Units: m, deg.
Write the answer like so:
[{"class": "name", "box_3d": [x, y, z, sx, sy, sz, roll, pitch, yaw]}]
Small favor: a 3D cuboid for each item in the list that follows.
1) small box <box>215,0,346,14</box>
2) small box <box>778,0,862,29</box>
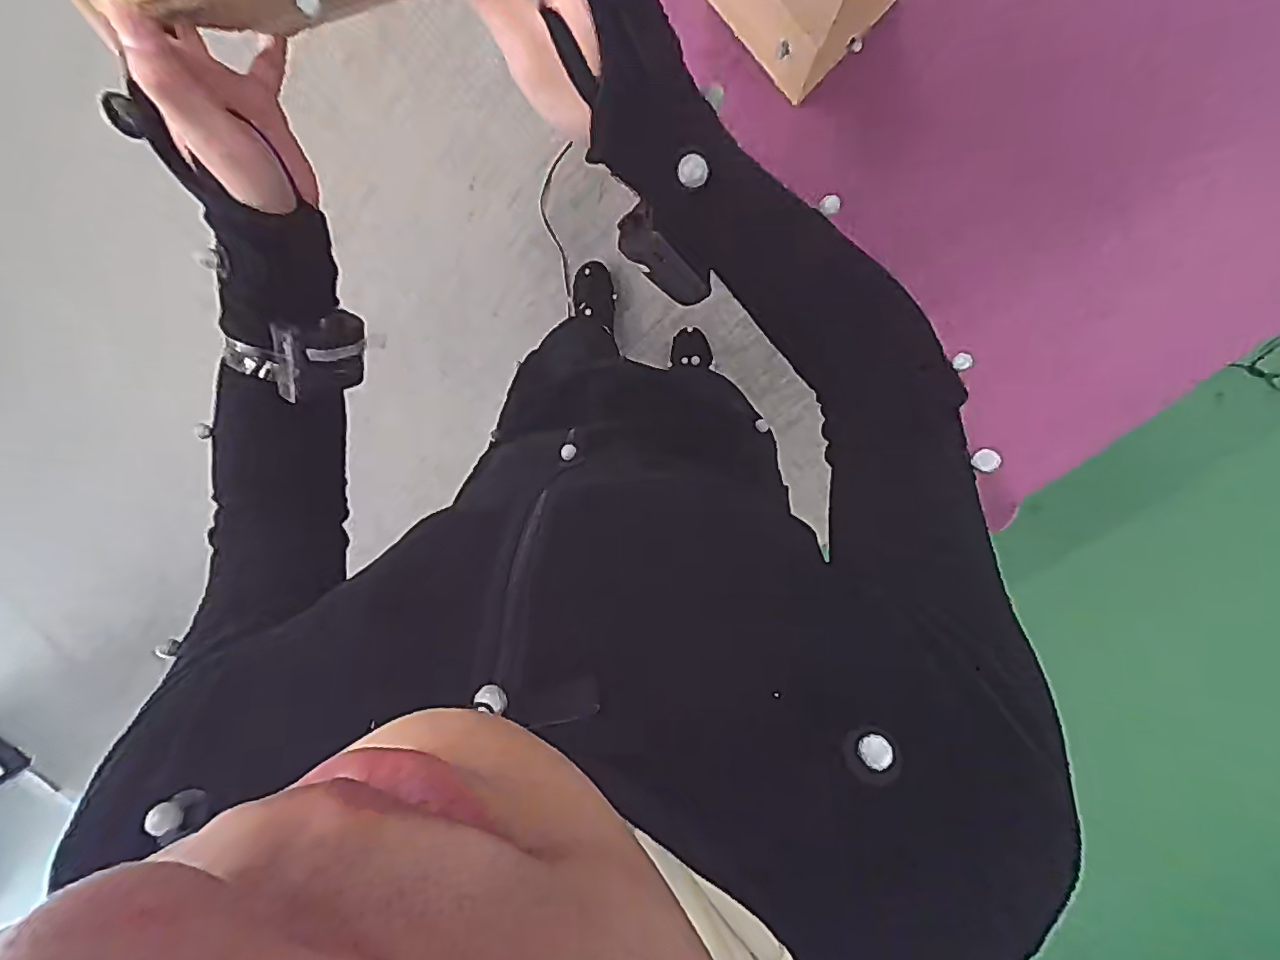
[{"class": "small box", "box_3d": [-0.170, -0.333, 0.235, 0.179, 0.176, 0.168, -11, 127, 7]}, {"class": "small box", "box_3d": [0.176, -0.535, 0.452, 0.168, 0.176, 0.179, -42, 98, 16]}]
